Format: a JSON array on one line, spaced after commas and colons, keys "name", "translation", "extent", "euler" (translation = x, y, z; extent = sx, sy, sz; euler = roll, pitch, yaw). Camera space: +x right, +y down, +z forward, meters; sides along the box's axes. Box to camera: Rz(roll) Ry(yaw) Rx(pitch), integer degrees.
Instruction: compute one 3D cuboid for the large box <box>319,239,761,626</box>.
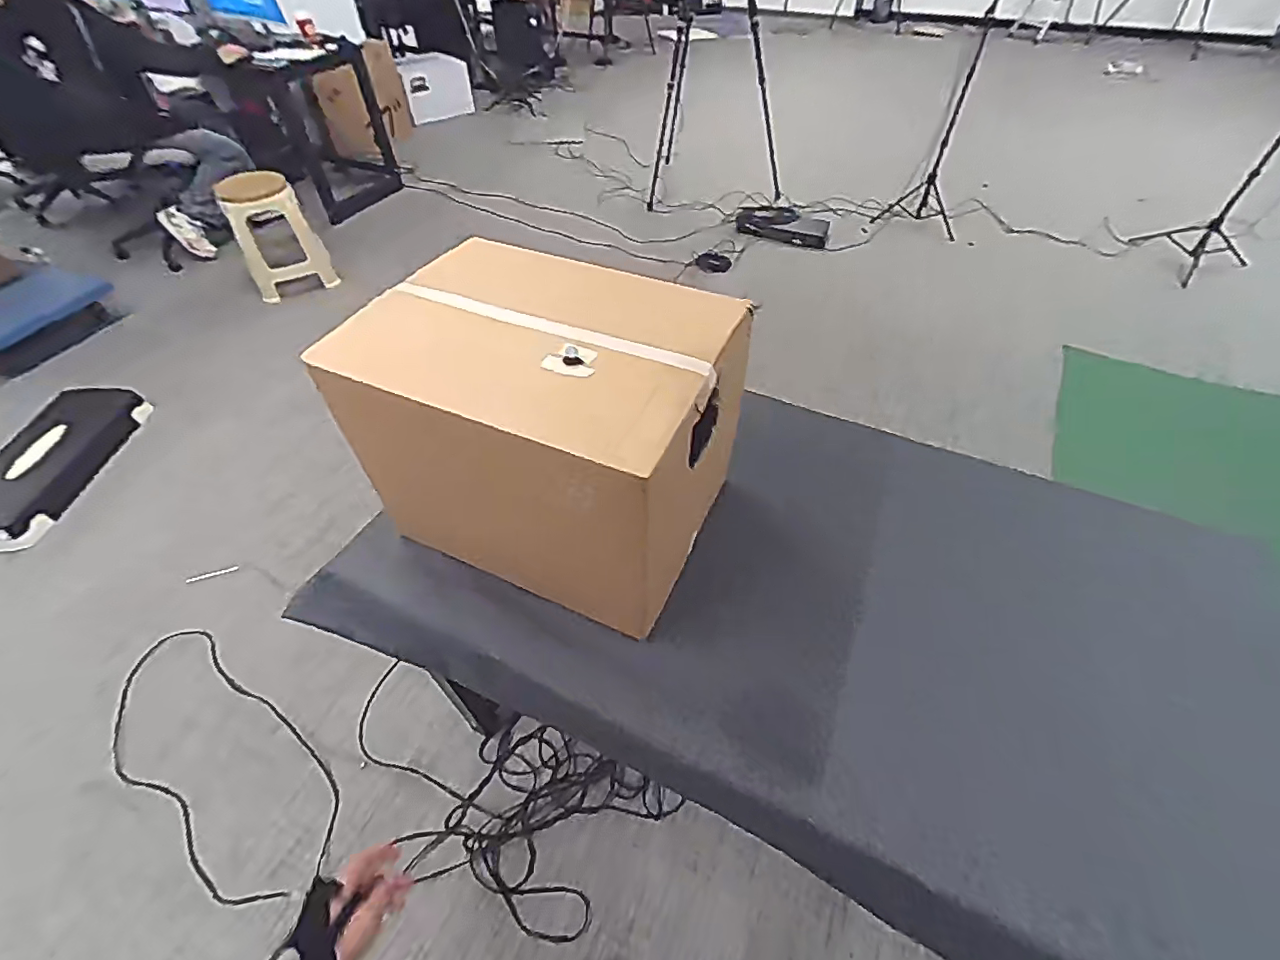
[{"name": "large box", "translation": [-0.100, -0.070, 0.716], "extent": [0.408, 0.320, 0.320], "euler": [20, 52, 15]}]
